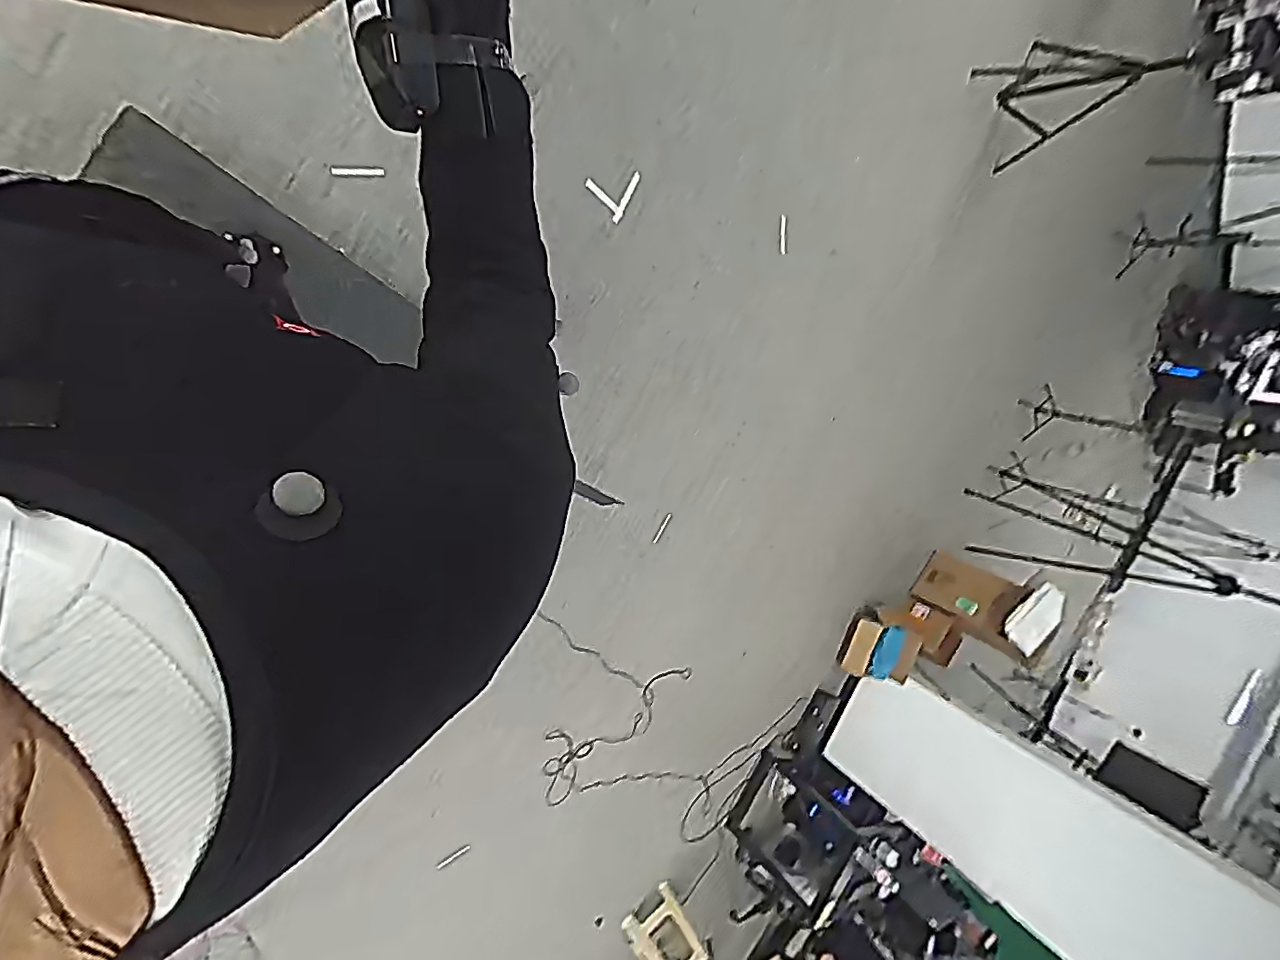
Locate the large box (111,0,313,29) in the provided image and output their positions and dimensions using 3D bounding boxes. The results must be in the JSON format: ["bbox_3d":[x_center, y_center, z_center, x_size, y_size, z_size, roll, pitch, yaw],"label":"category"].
[{"bbox_3d":[-0.380,-0.430,0.211,0.408,0.320,0.320,-18,127,-36],"label":"large box"}]
